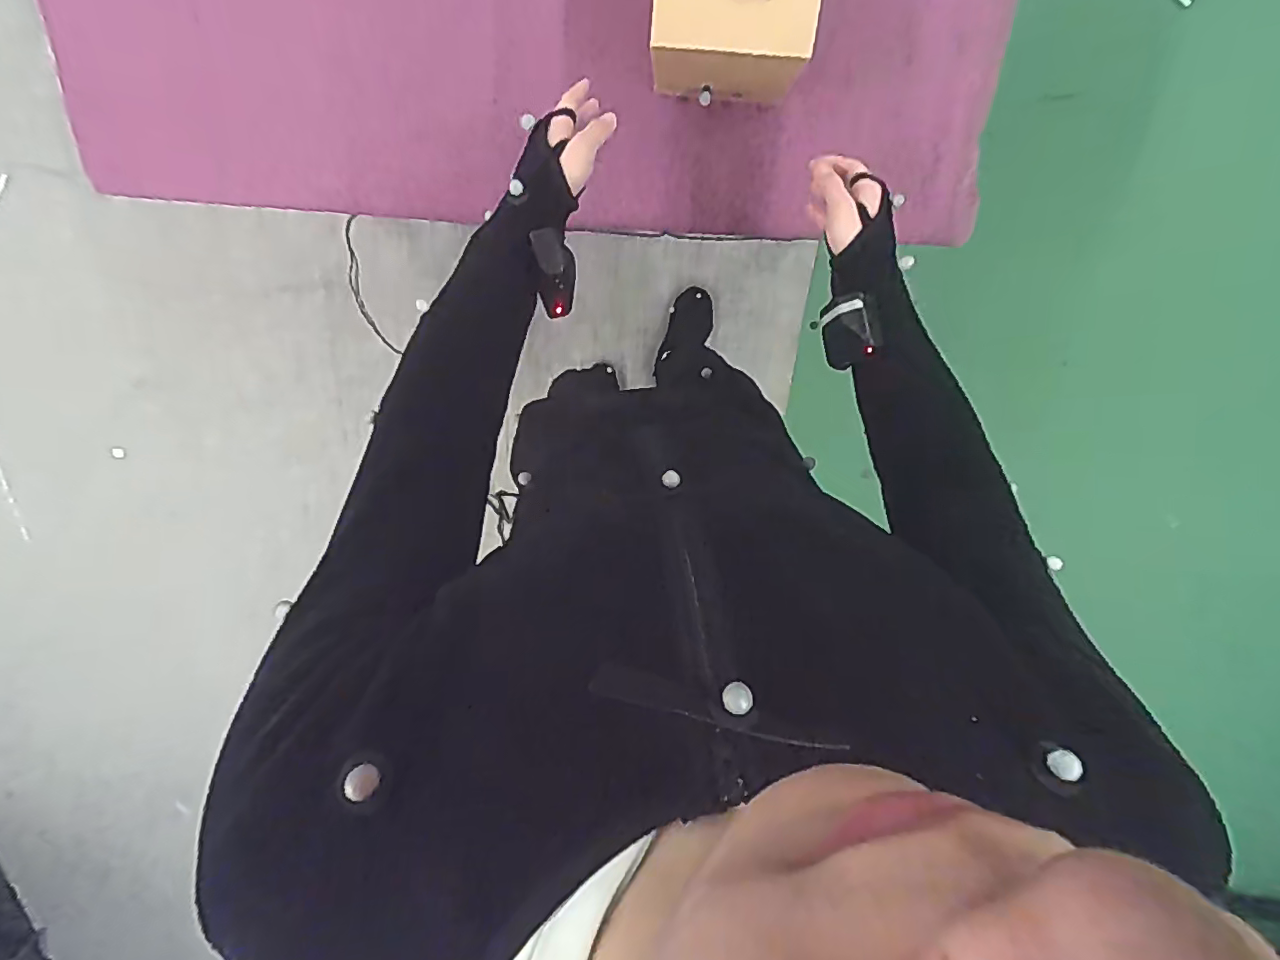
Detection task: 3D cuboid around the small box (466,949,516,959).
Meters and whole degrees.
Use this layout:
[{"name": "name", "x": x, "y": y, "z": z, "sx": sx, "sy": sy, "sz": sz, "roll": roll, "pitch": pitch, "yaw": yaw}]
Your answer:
[{"name": "small box", "x": -0.458, "y": 1.539, "z": 1.598, "sx": 0.168, "sy": 0.176, "sz": 0.179, "roll": 11, "pitch": 111, "yaw": -1}]

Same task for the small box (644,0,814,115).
[{"name": "small box", "x": 0.097, "y": -0.534, "z": 0.595, "sx": 0.168, "sy": 0.176, "sz": 0.179, "roll": 6, "pitch": 111, "yaw": 2}]
